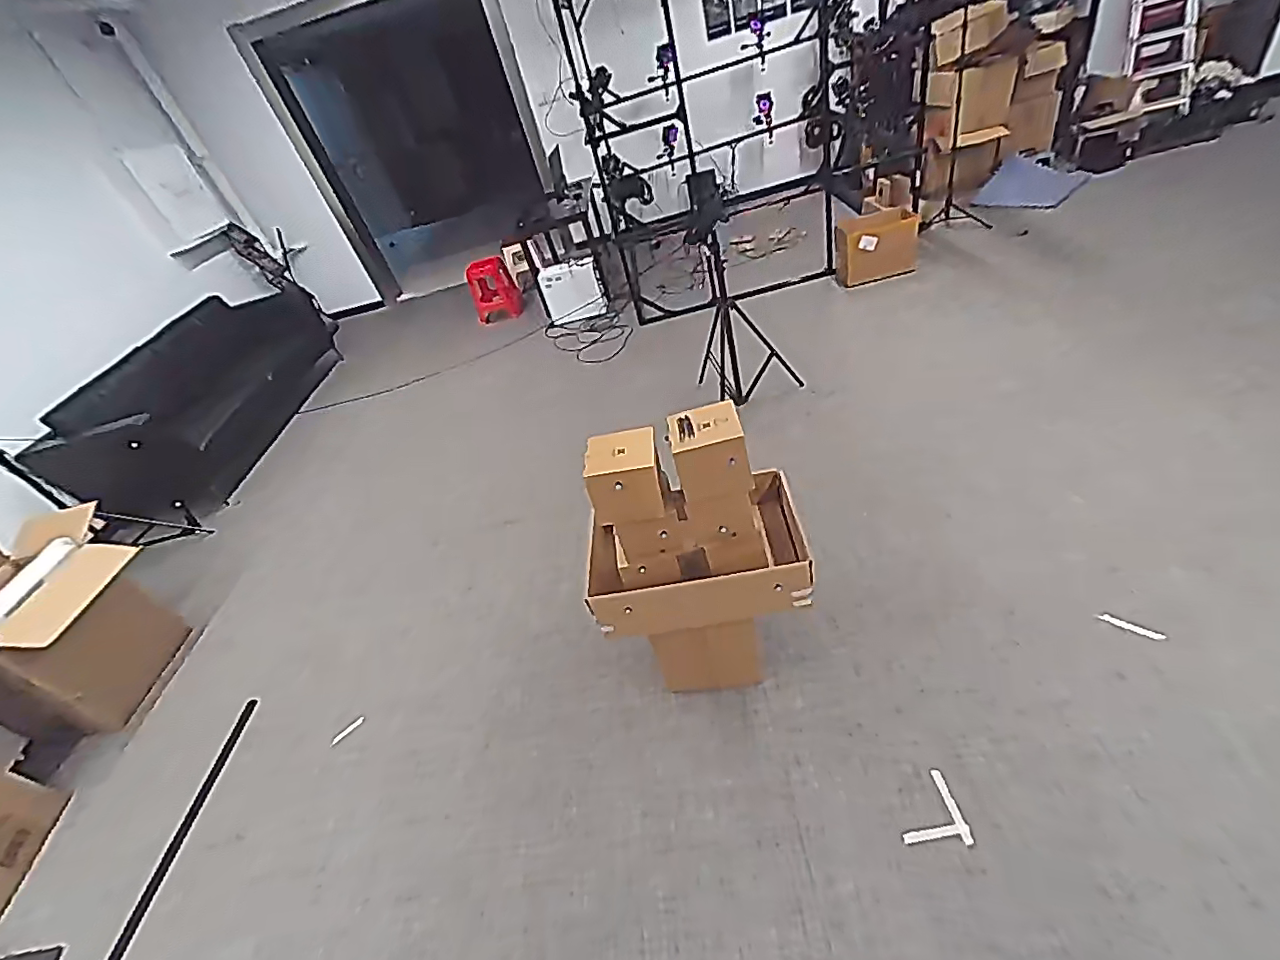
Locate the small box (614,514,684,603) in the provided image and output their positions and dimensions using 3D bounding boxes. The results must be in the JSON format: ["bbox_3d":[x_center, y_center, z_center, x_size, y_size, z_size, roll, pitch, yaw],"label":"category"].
[{"bbox_3d":[0.025,0.232,1.595,0.168,0.176,0.179,-15,38,4],"label":"small box"}]

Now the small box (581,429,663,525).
[{"bbox_3d":[-0.037,-0.006,1.381,0.179,0.176,0.168,-10,39,9],"label":"small box"}]
